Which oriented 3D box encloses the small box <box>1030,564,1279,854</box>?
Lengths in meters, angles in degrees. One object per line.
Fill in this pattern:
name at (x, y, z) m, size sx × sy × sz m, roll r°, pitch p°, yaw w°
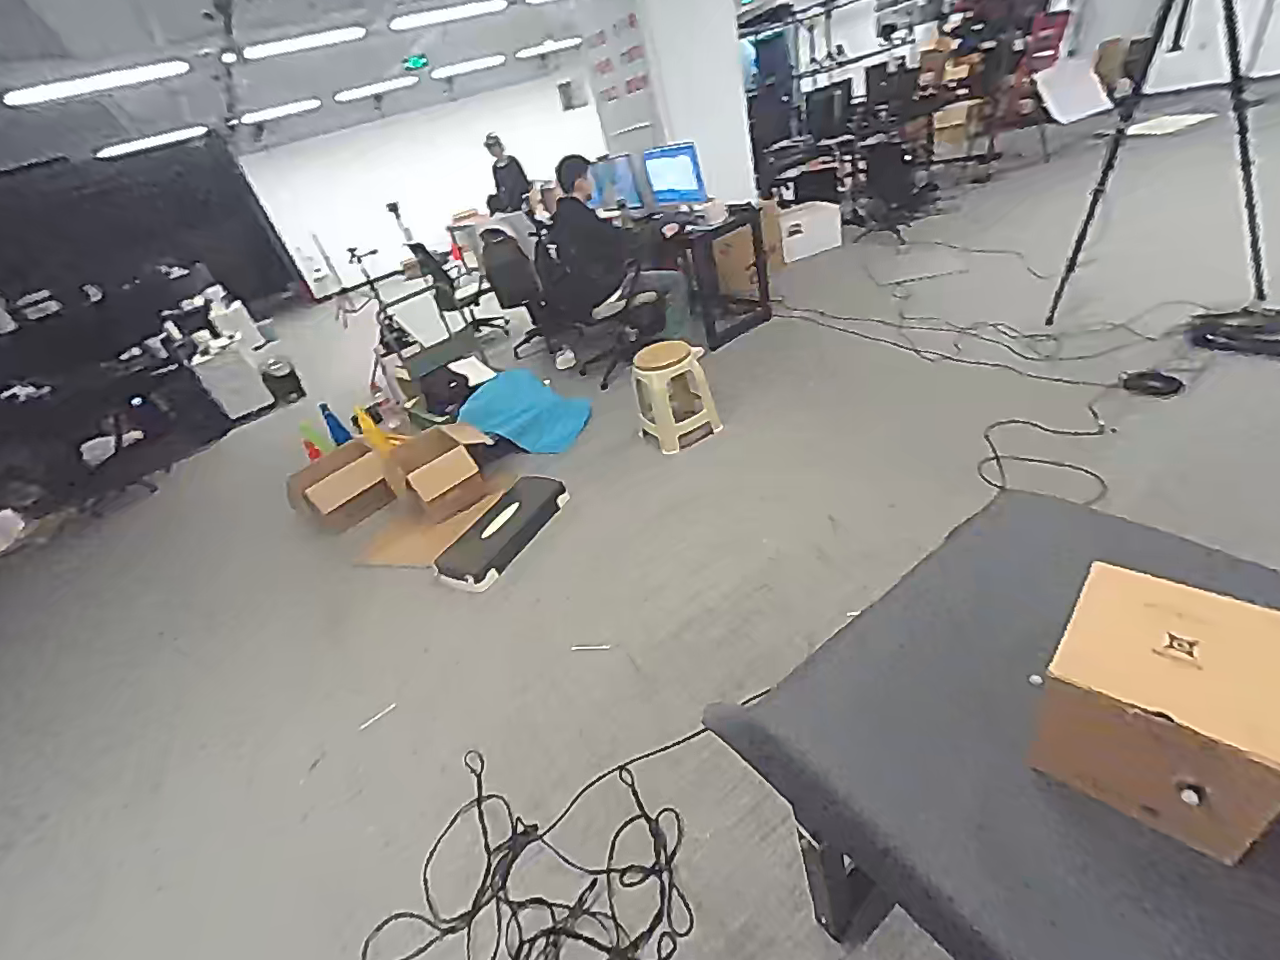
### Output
small box at (0.522, 0.224, 0.548) m, size 0.168 × 0.176 × 0.179 m, roll 20°, pitch 47°, yaw 42°
